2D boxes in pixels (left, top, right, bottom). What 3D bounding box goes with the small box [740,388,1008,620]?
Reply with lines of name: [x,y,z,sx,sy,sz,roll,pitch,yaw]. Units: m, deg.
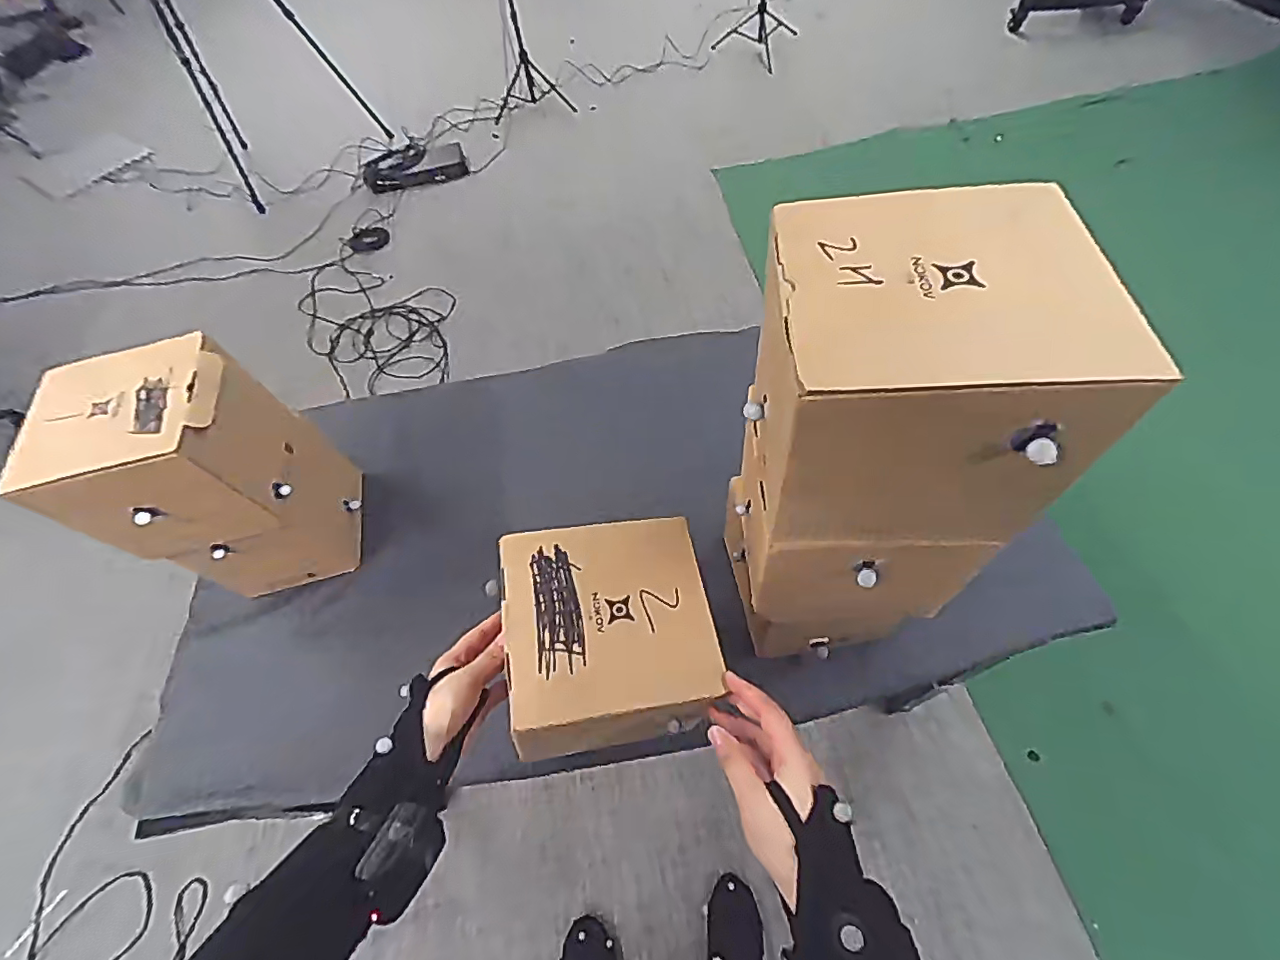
small box: [0.190,0.025,0.504,0.179,0.176,0.168,-3,57,7]

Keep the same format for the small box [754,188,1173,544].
small box: [0.175,-0.065,0.367,0.179,0.176,0.168,-2,57,8]

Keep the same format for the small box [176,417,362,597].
small box: [-0.519,0.043,0.769,0.168,0.176,0.179,-15,59,-3]

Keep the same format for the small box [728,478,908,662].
small box: [0.205,0.100,0.649,0.168,0.176,0.179,-12,58,1]

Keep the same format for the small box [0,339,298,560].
small box: [-0.529,-0.028,0.620,0.179,0.176,0.168,-14,60,-2]
